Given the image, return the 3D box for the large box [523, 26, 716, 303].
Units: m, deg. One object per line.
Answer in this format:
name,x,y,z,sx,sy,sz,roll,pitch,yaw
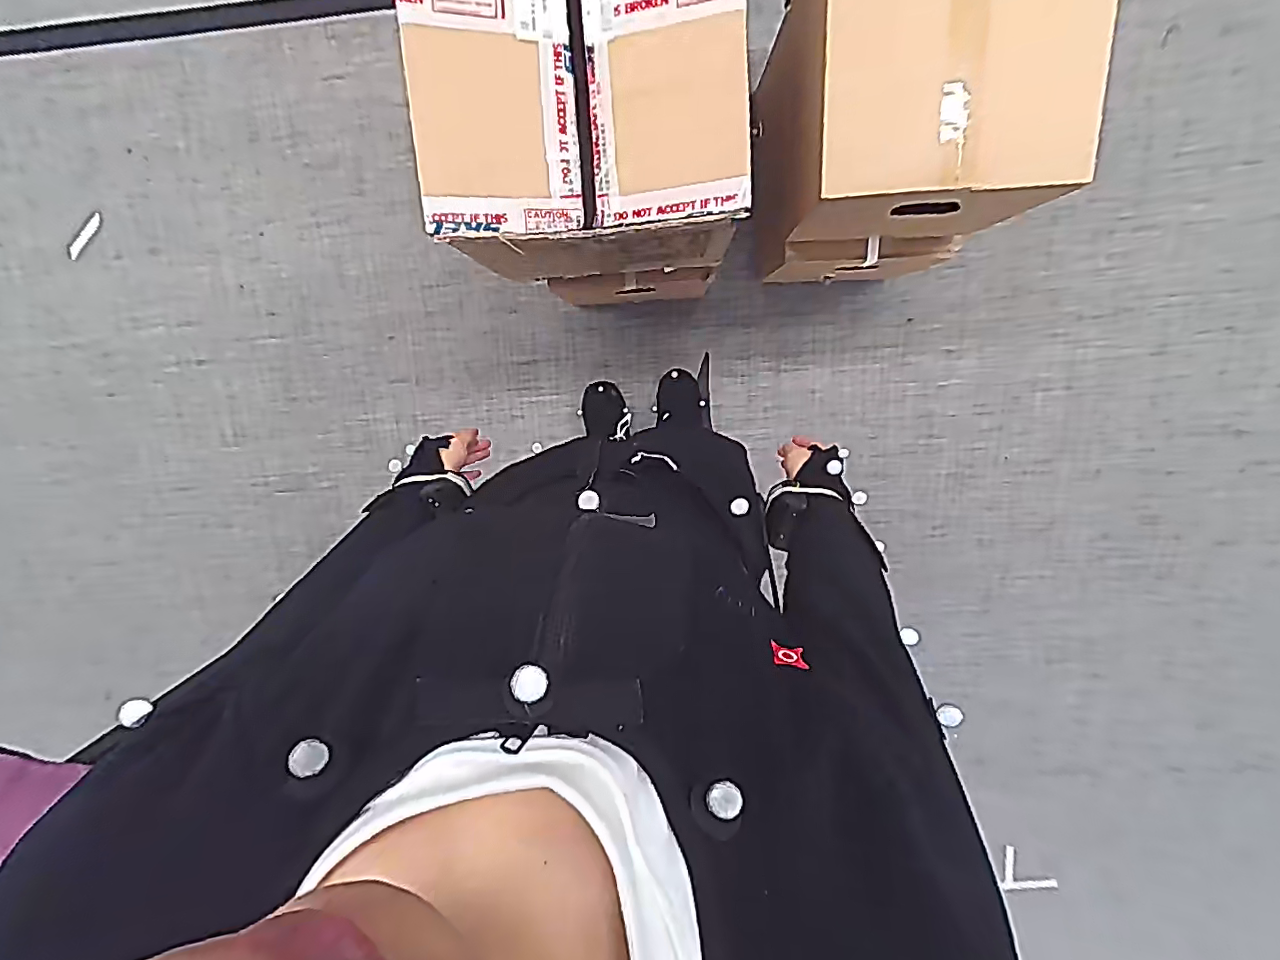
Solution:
large box,-0.025,-0.592,1.098,0.320,0.320,0.408,-3,103,4
